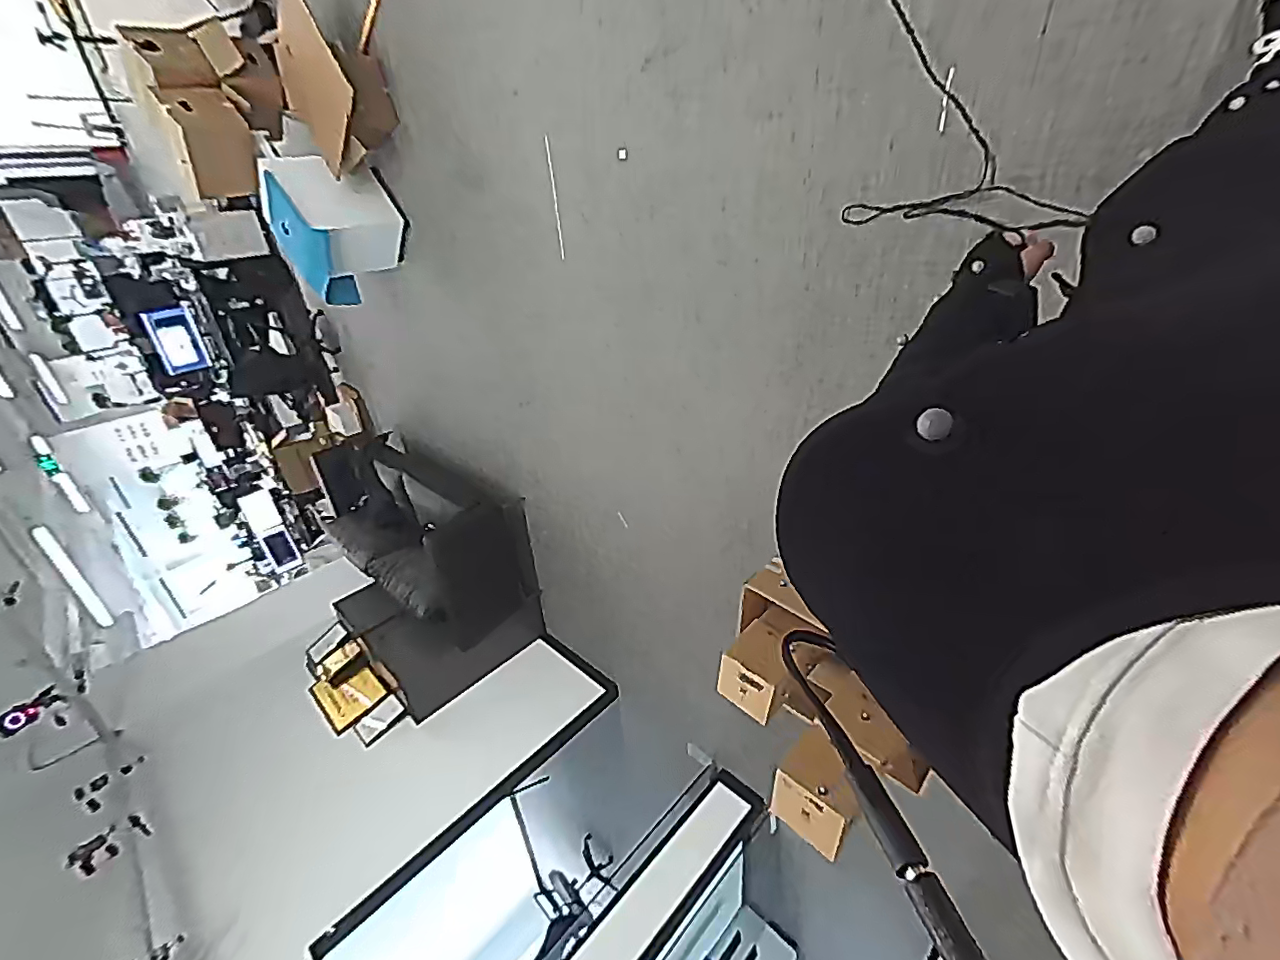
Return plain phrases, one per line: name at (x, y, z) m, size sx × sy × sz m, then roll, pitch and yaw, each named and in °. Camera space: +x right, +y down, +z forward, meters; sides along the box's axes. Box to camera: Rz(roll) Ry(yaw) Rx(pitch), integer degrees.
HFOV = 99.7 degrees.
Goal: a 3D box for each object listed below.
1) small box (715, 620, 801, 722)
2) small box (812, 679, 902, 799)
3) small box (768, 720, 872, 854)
small box at (0.336, 0.531, 1.531) m, size 0.168 × 0.176 × 0.179 m, roll 29°, pitch 133°, yaw 34°
small box at (0.539, 0.645, 1.369) m, size 0.168 × 0.176 × 0.179 m, roll 26°, pitch 130°, yaw 38°
small box at (0.424, 0.715, 1.274) m, size 0.168 × 0.176 × 0.179 m, roll 25°, pitch 130°, yaw 37°
